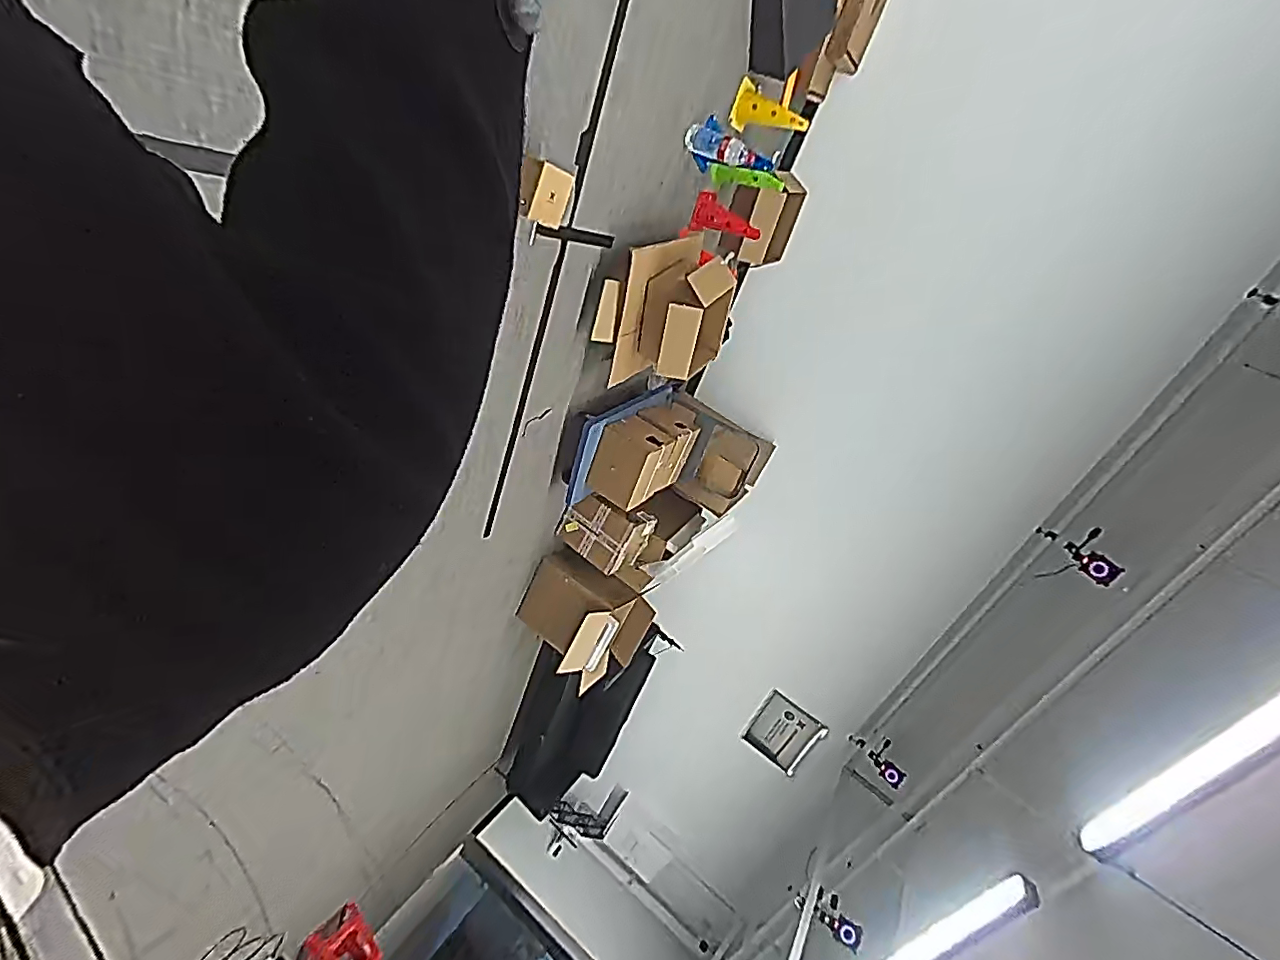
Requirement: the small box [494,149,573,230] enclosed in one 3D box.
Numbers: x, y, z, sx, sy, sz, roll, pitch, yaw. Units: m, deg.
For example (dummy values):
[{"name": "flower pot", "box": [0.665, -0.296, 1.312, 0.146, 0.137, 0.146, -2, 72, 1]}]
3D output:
[{"name": "small box", "box": [-0.355, -0.959, 1.783, 0.168, 0.176, 0.179, -22, 141, -60]}]
